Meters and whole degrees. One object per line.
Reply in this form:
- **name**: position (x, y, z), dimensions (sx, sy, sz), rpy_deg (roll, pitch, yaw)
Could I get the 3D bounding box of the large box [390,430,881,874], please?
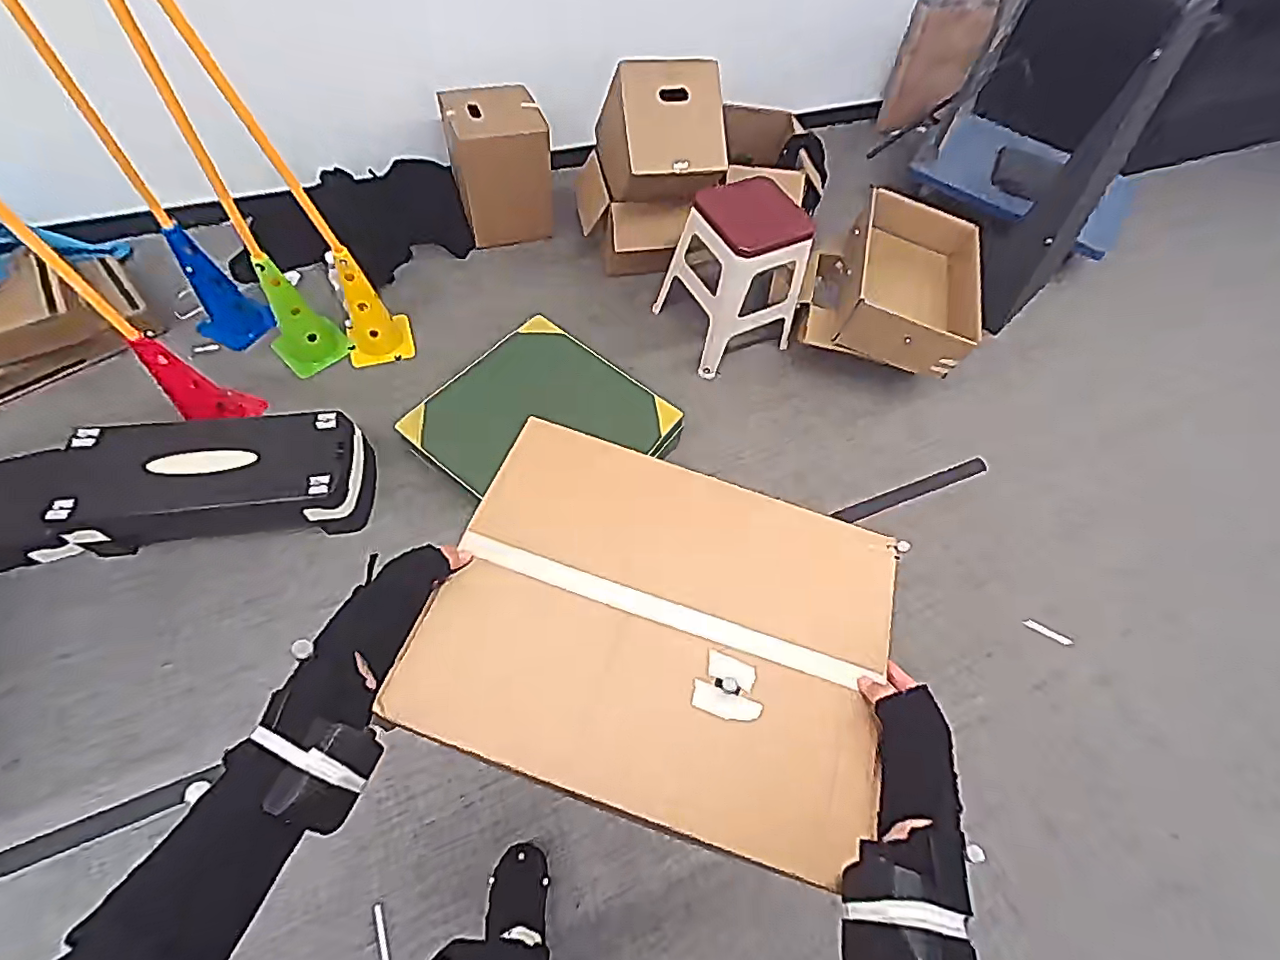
- **large box**: position (0.005, 0.200, 0.630), dimensions (0.408, 0.320, 0.320), rpy_deg (19, 59, 3)
